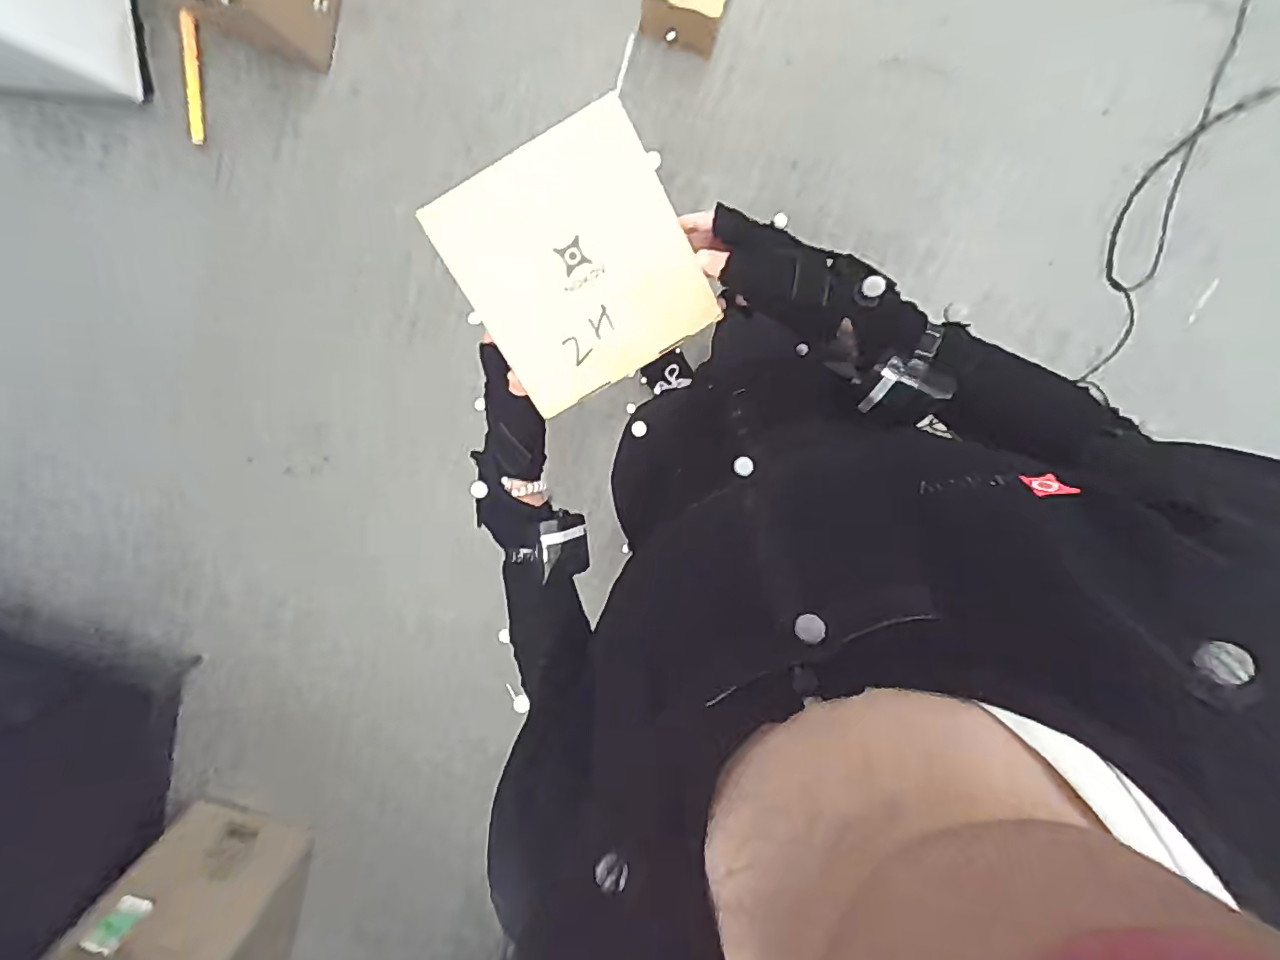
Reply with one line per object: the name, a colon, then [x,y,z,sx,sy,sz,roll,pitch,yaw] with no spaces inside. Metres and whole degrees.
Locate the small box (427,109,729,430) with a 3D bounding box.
small box: [-0.049,-0.168,0.475,0.168,0.176,0.179,-29,106,4]

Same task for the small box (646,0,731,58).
small box: [0.110,-1.032,1.117,0.168,0.176,0.179,17,106,-3]
